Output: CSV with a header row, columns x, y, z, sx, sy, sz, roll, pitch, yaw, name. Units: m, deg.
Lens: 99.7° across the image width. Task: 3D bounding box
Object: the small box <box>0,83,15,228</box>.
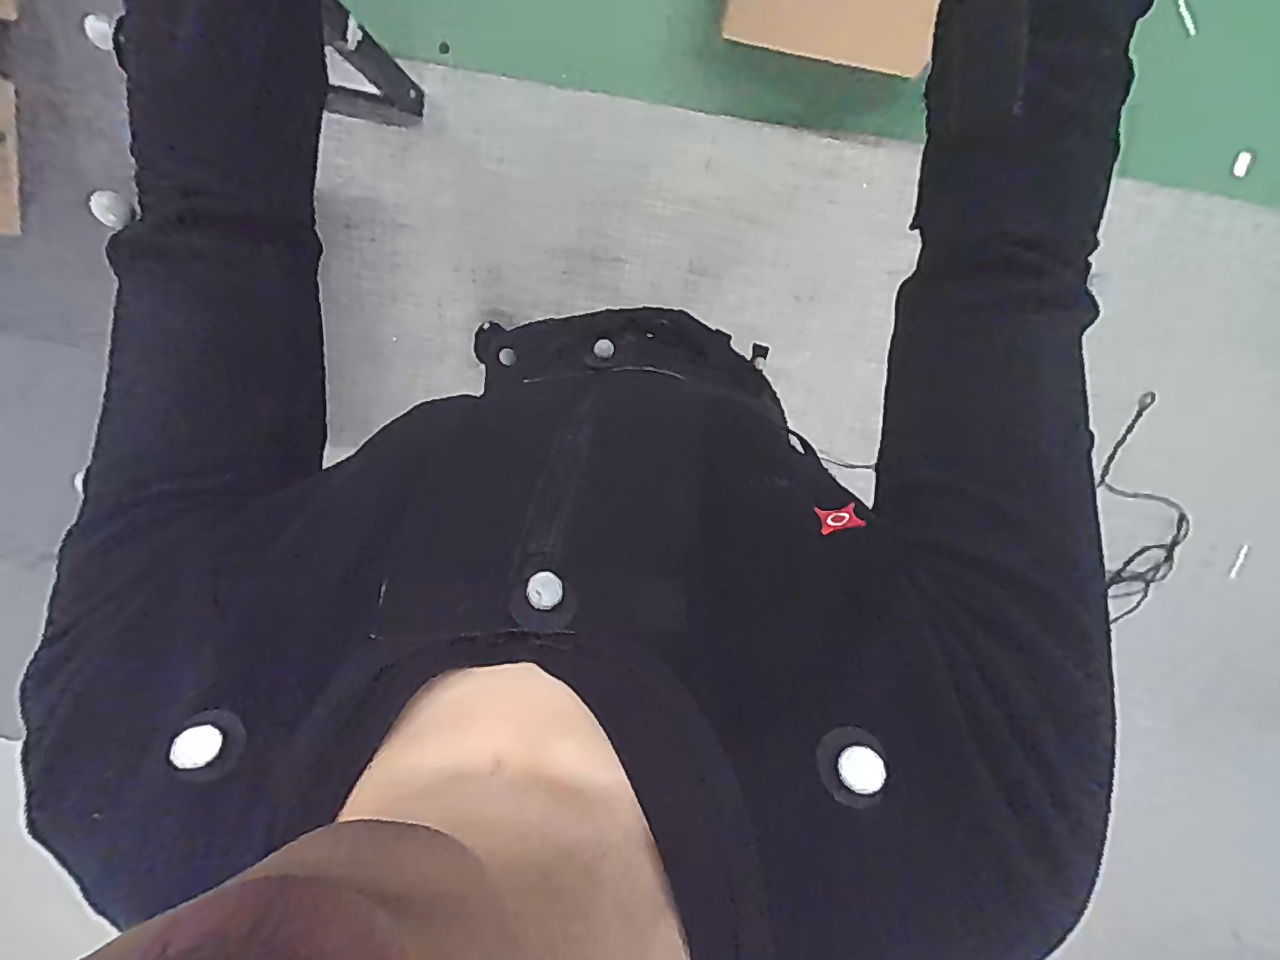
x,y,z,sx,sy,sz,roll,pitch,yaw,name
-0.806,-0.367,0.541,0.179,0.176,0.168,14,105,-3,small box
